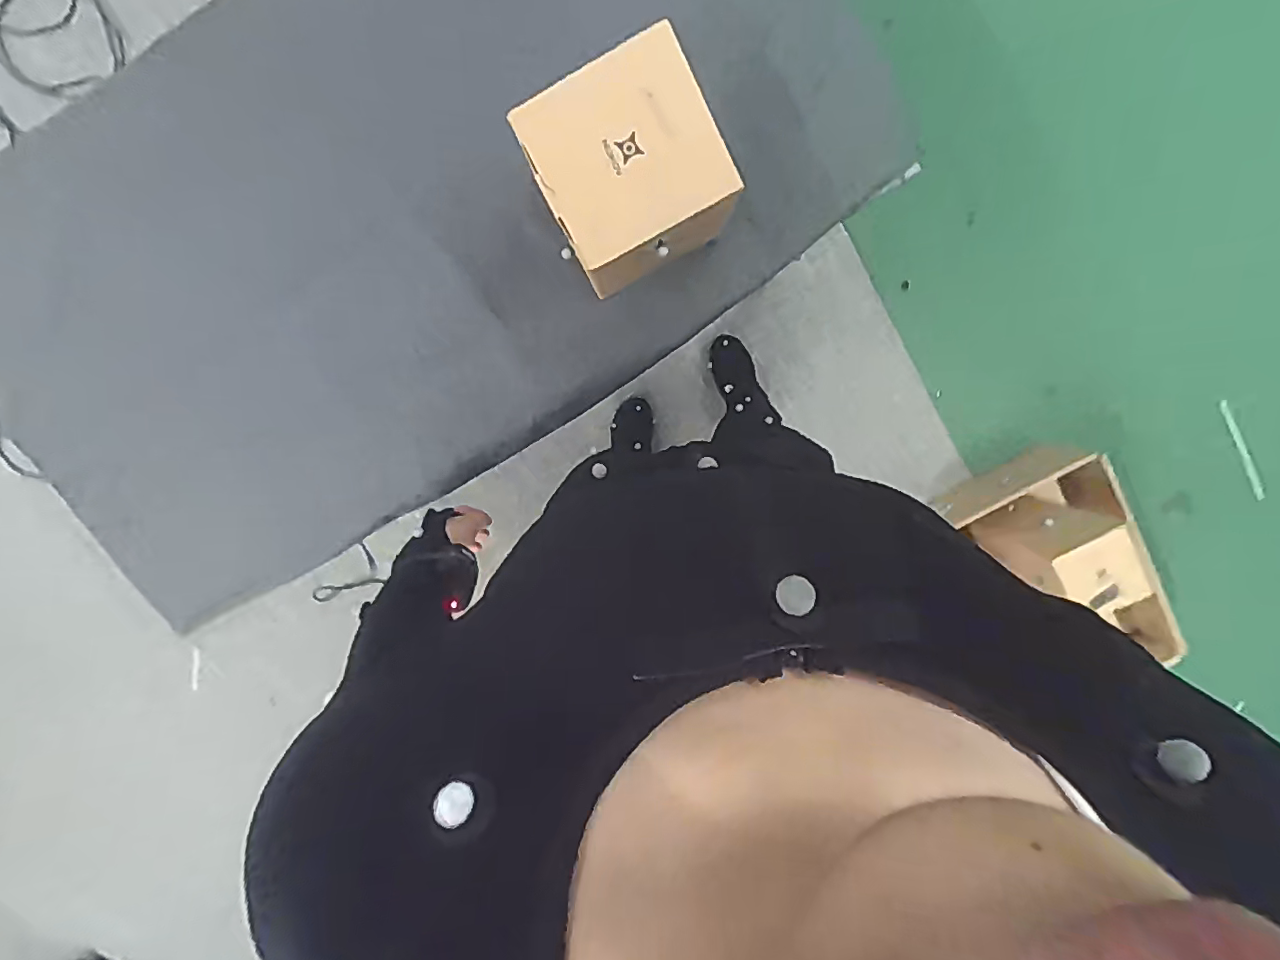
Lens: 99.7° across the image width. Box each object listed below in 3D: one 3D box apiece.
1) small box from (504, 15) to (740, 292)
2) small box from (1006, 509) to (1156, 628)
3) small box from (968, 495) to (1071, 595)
[{"bbox_3d":[-0.015,-0.325,0.585,0.179,0.176,0.168,-28,99,5],"label":"small box"},{"bbox_3d":[0.969,0.188,1.203,0.168,0.176,0.179,-29,99,6],"label":"small box"},{"bbox_3d":[0.974,0.153,1.364,0.168,0.176,0.179,-29,101,7],"label":"small box"}]
